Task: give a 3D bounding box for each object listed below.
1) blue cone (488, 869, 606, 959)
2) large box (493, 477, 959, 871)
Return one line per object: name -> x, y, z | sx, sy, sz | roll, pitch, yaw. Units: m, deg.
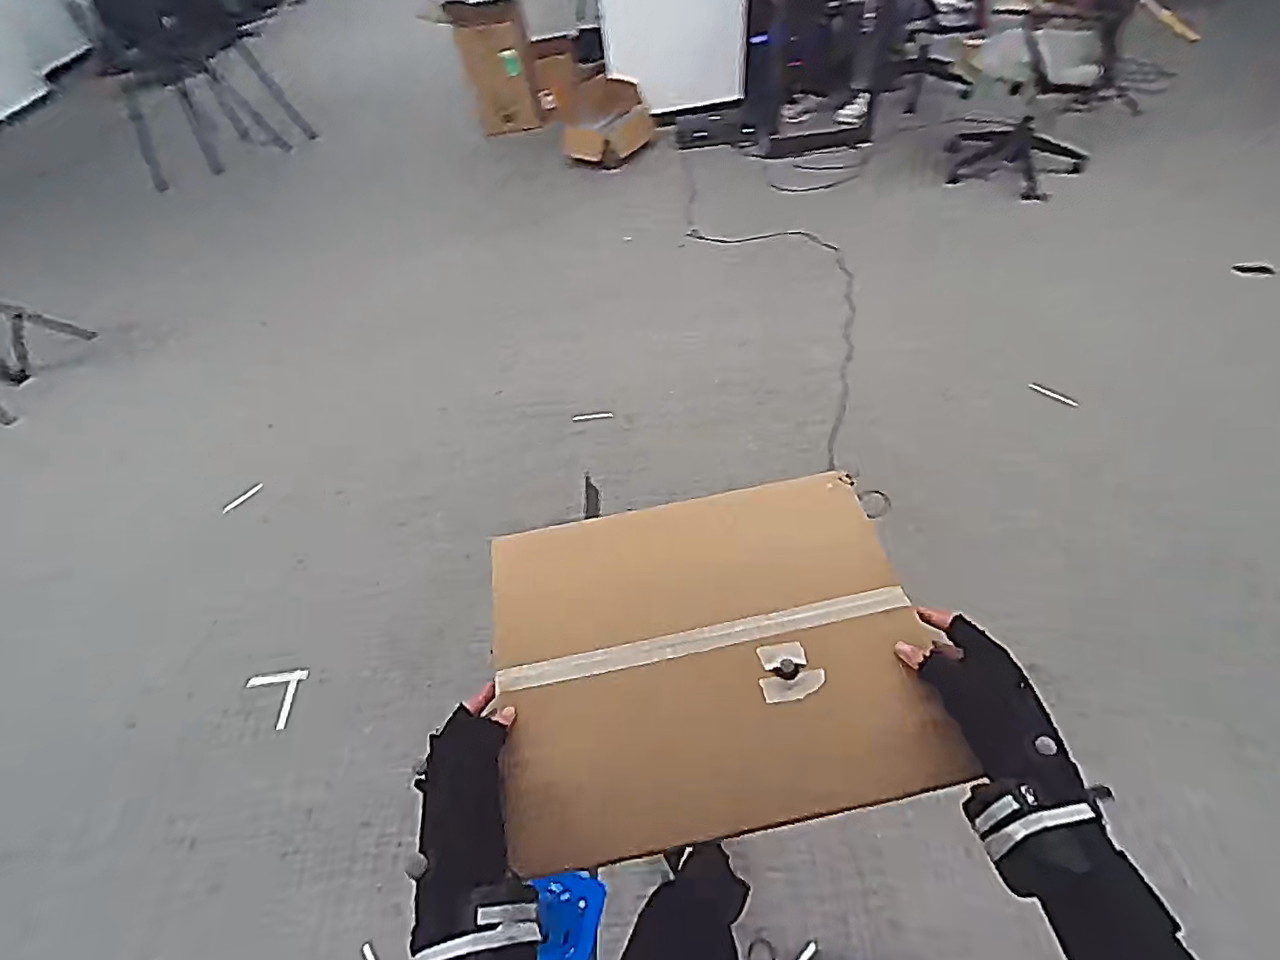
blue cone -> -0.202, 0.867, 1.031 | 0.193, 0.380, 0.192 | 10, 56, 17
large box -> 0.066, 0.243, 0.661 | 0.408, 0.320, 0.320 | -12, 56, -3
